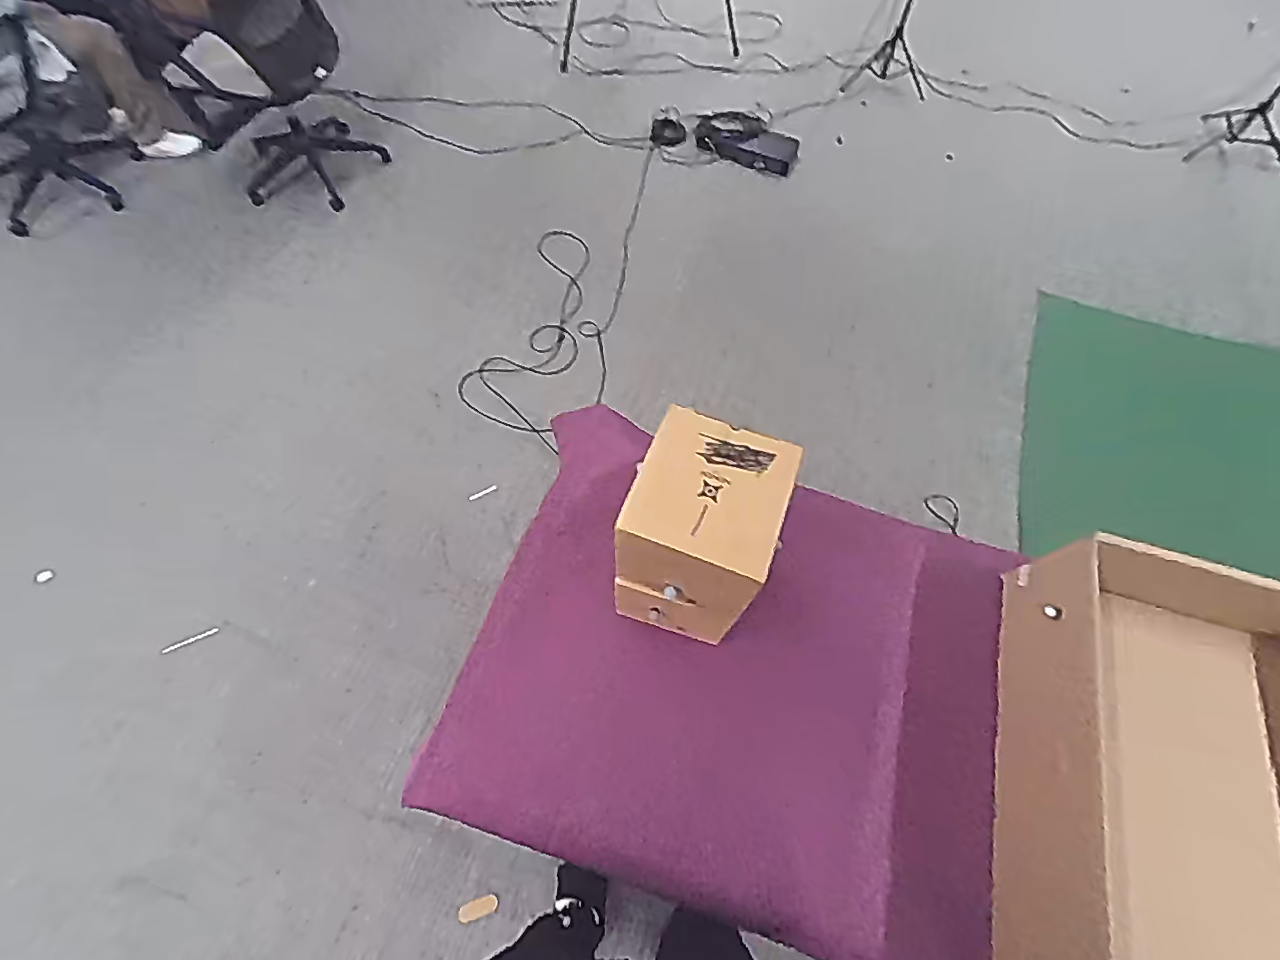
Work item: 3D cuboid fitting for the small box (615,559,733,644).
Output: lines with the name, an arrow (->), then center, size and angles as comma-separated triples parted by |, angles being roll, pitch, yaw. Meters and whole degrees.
small box -> 0.069, 0.126, 0.807 | 0.168, 0.176, 0.179 | 16, 61, 7

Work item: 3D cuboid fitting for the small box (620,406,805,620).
small box -> 0.081, 0.046, 0.664 | 0.168, 0.176, 0.179 | 20, 63, 10
